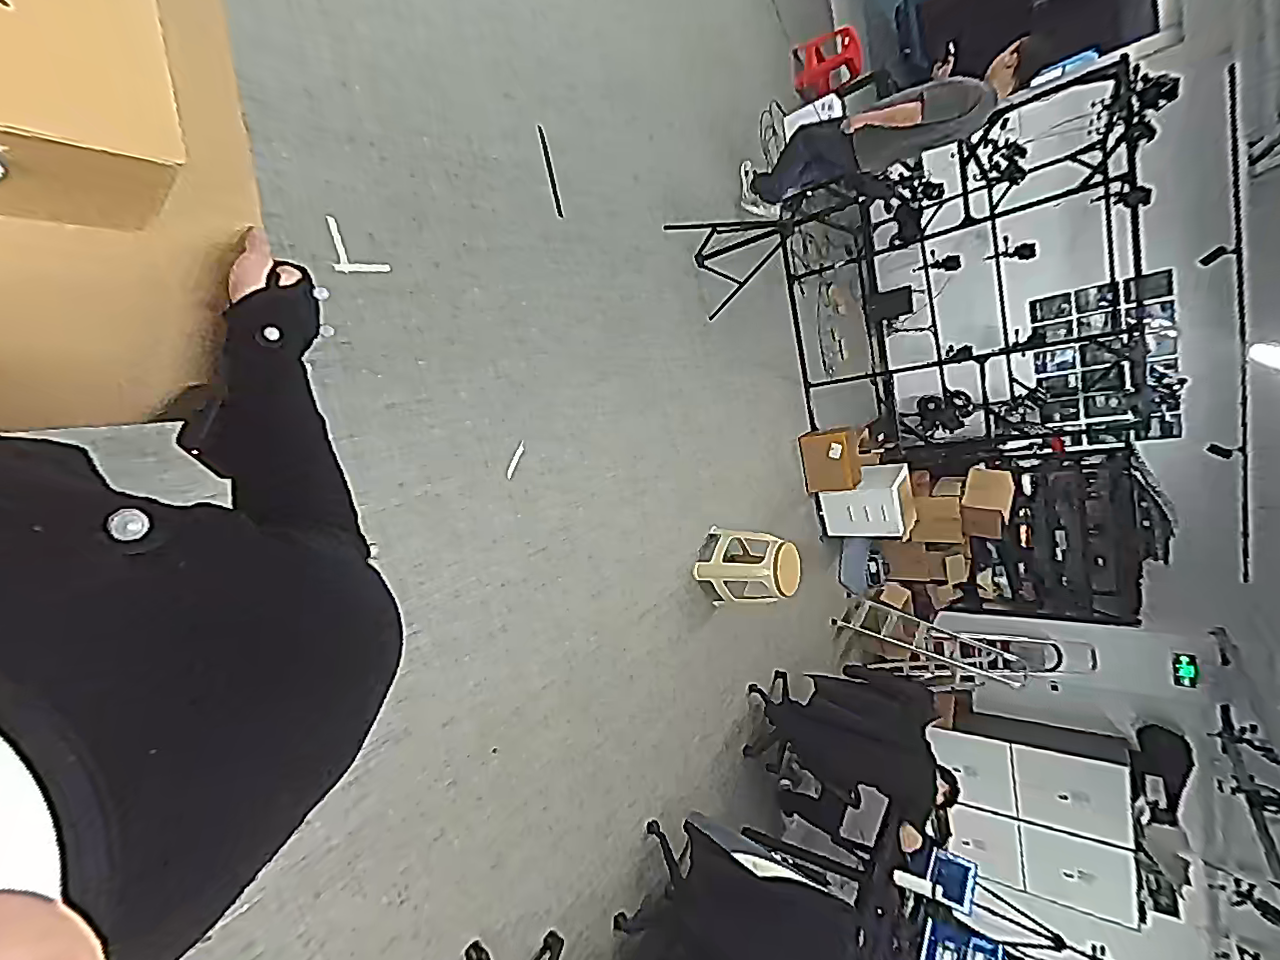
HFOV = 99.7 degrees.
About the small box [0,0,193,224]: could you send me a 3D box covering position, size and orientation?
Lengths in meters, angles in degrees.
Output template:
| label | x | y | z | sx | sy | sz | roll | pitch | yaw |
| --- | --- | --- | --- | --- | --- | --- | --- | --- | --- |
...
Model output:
| label | x | y | z | sx | sy | sz | roll | pitch | yaw |
| --- | --- | --- | --- | --- | --- | --- | --- | --- | --- |
| small box | -0.448 | -0.292 | 0.370 | 0.179 | 0.176 | 0.168 | -14 | 102 | -47 |
